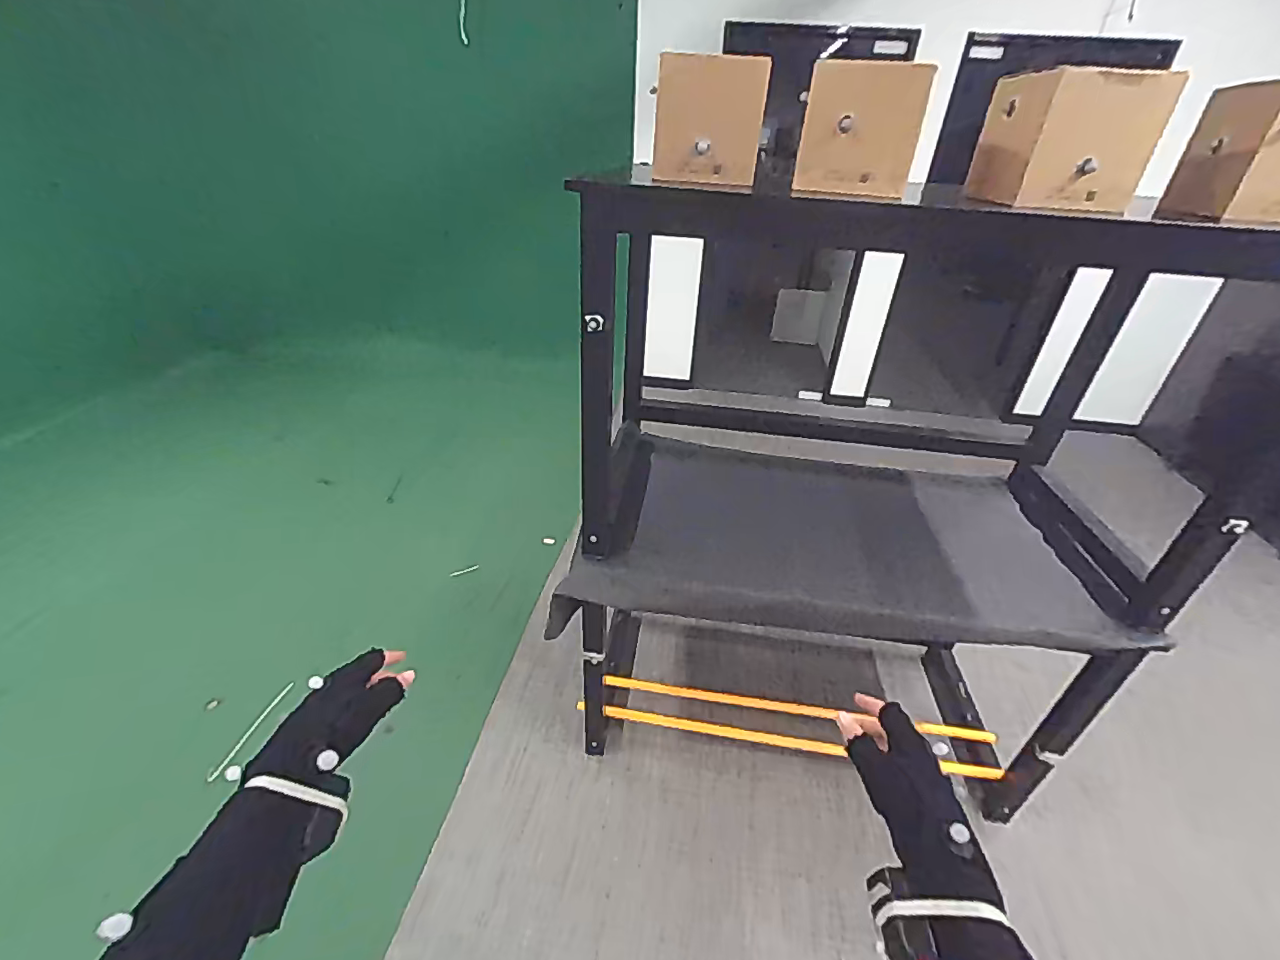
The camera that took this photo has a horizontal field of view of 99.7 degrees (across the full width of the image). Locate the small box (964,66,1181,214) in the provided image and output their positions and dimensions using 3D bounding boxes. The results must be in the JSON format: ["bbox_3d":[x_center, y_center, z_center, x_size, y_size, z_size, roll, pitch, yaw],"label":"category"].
[{"bbox_3d":[0.636,-0.514,0.828,0.168,0.176,0.179,4,32,2],"label":"small box"}]

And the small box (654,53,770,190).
[{"bbox_3d":[0.110,-0.594,0.908,0.168,0.176,0.179,3,33,0],"label":"small box"}]
